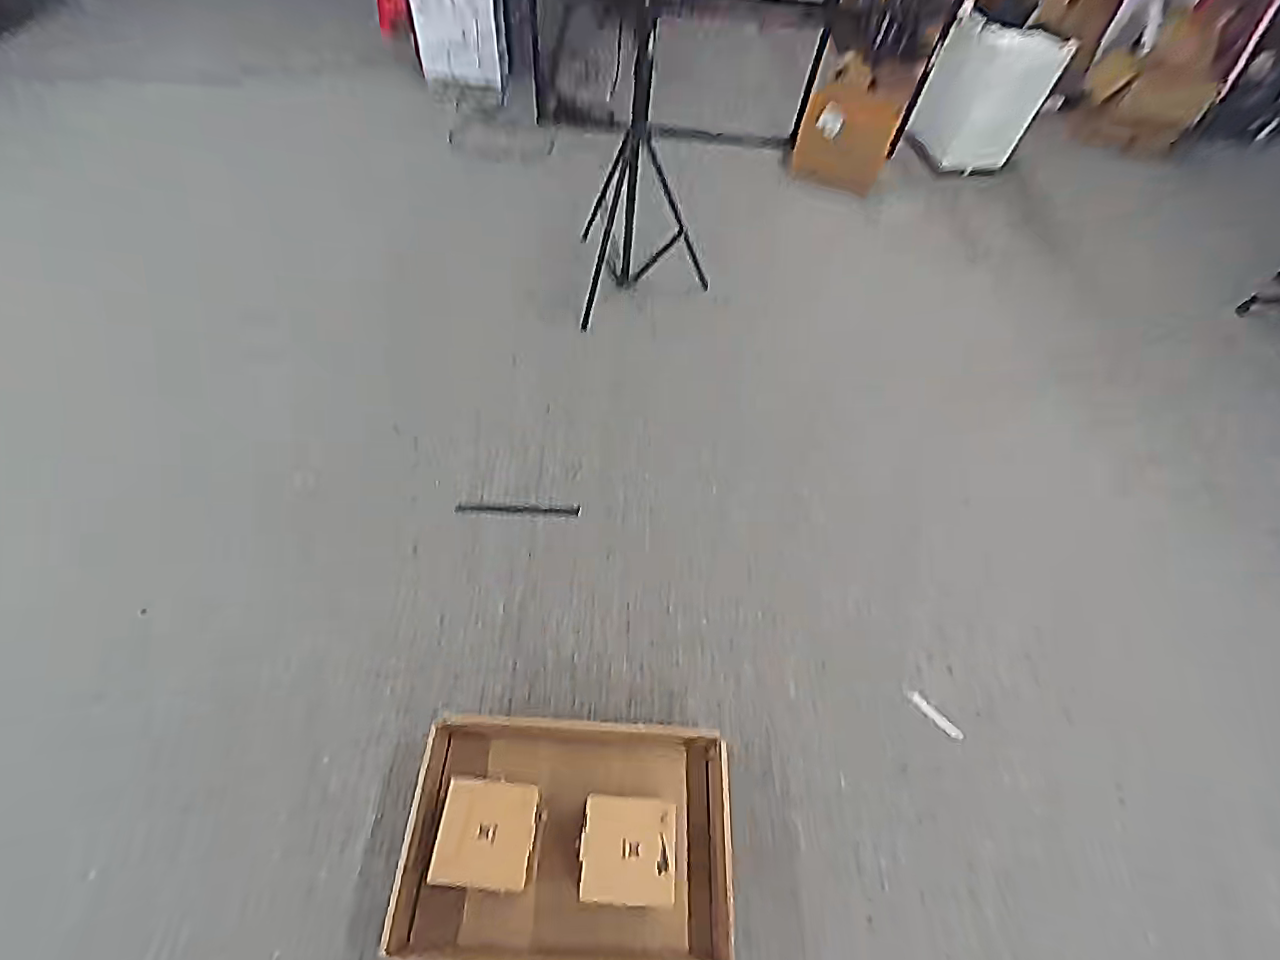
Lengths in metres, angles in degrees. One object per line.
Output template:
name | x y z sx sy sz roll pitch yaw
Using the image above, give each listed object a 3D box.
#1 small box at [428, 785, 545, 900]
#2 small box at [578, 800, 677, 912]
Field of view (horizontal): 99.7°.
small box | -0.288 0.708 1.063 0.179 0.176 0.168 7 55 -2
small box | -0.023 0.740 1.070 0.179 0.176 0.168 4 56 -1
